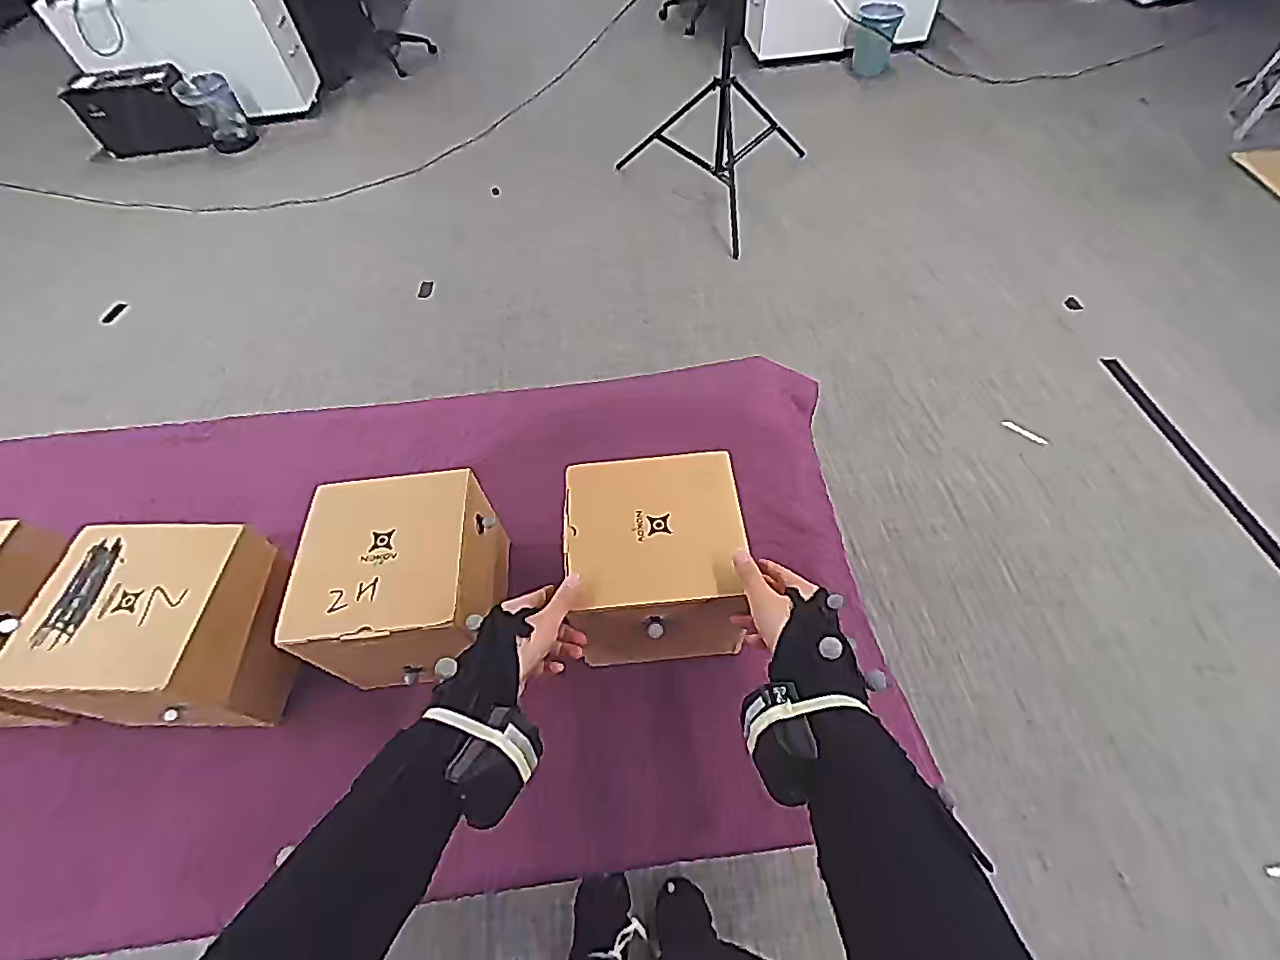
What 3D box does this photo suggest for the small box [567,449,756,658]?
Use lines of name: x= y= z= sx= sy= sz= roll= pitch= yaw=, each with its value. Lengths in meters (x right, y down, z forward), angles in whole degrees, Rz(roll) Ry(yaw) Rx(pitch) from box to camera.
small box: x=0.019 y=0.087 z=0.599 sx=0.179 sy=0.176 sz=0.168 roll=-6 pitch=55 yaw=1

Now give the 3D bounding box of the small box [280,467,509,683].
small box: x=-0.249 y=0.109 z=0.601 sx=0.168 sy=0.176 sz=0.179 roll=-7 pitch=56 yaw=0

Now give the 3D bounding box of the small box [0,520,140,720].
small box: x=-0.724 y=0.161 z=0.595 sx=0.168 sy=0.176 sz=0.179 roll=-2 pitch=56 yaw=1
